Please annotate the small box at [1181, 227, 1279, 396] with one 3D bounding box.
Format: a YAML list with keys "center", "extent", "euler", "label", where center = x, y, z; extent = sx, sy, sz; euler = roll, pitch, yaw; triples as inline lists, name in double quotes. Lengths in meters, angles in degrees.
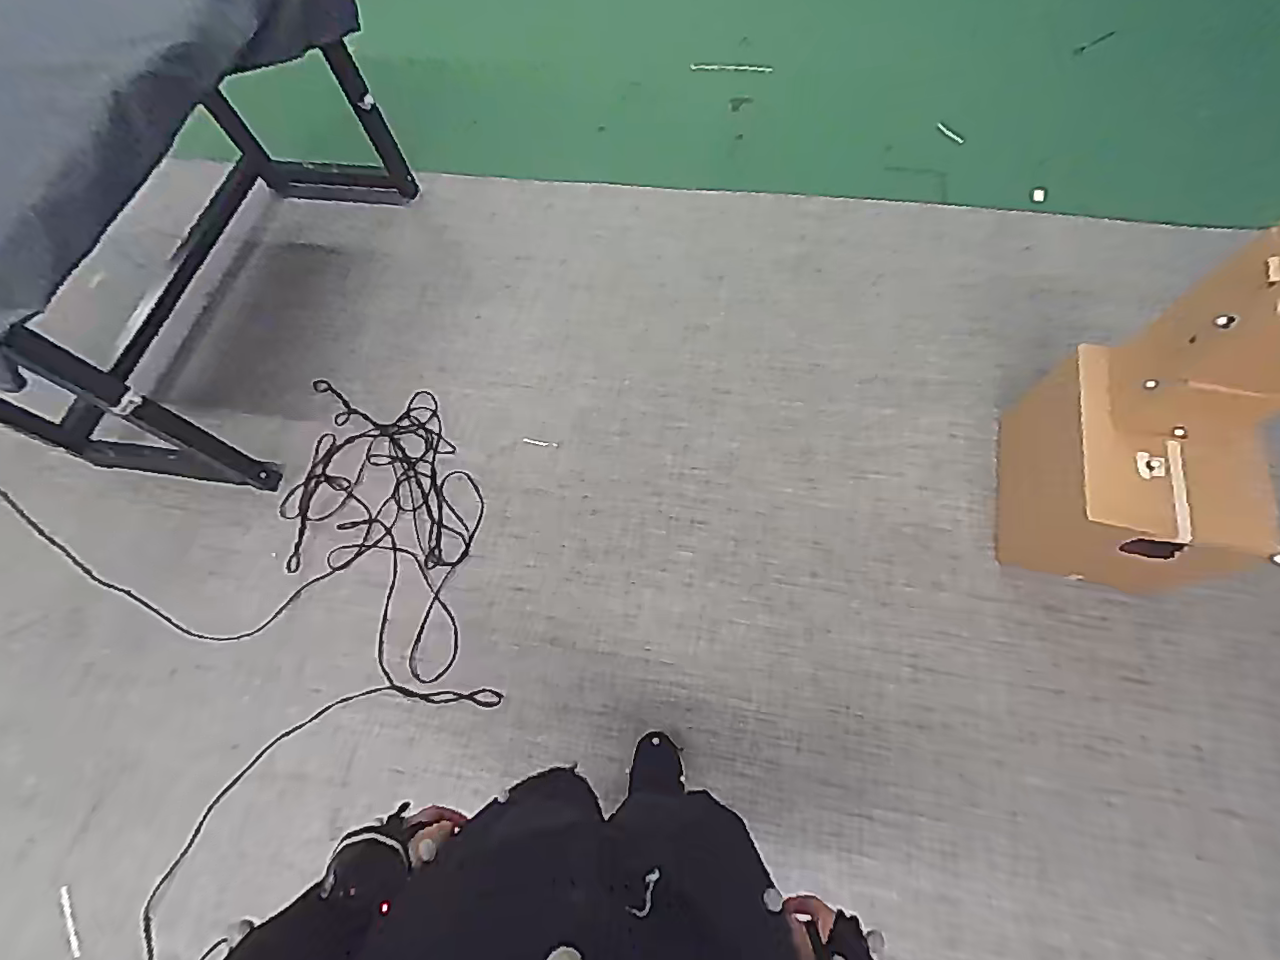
- center: [0.983, -0.247, 0.823]
  extent: [0.179, 0.176, 0.168]
  euler: [15, 71, 9]
  label: "small box"

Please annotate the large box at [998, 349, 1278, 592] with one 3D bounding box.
- center: [1.013, -0.011, 1.163]
  extent: [0.320, 0.320, 0.408]
  euler: [11, 69, 10]
  label: "large box"
